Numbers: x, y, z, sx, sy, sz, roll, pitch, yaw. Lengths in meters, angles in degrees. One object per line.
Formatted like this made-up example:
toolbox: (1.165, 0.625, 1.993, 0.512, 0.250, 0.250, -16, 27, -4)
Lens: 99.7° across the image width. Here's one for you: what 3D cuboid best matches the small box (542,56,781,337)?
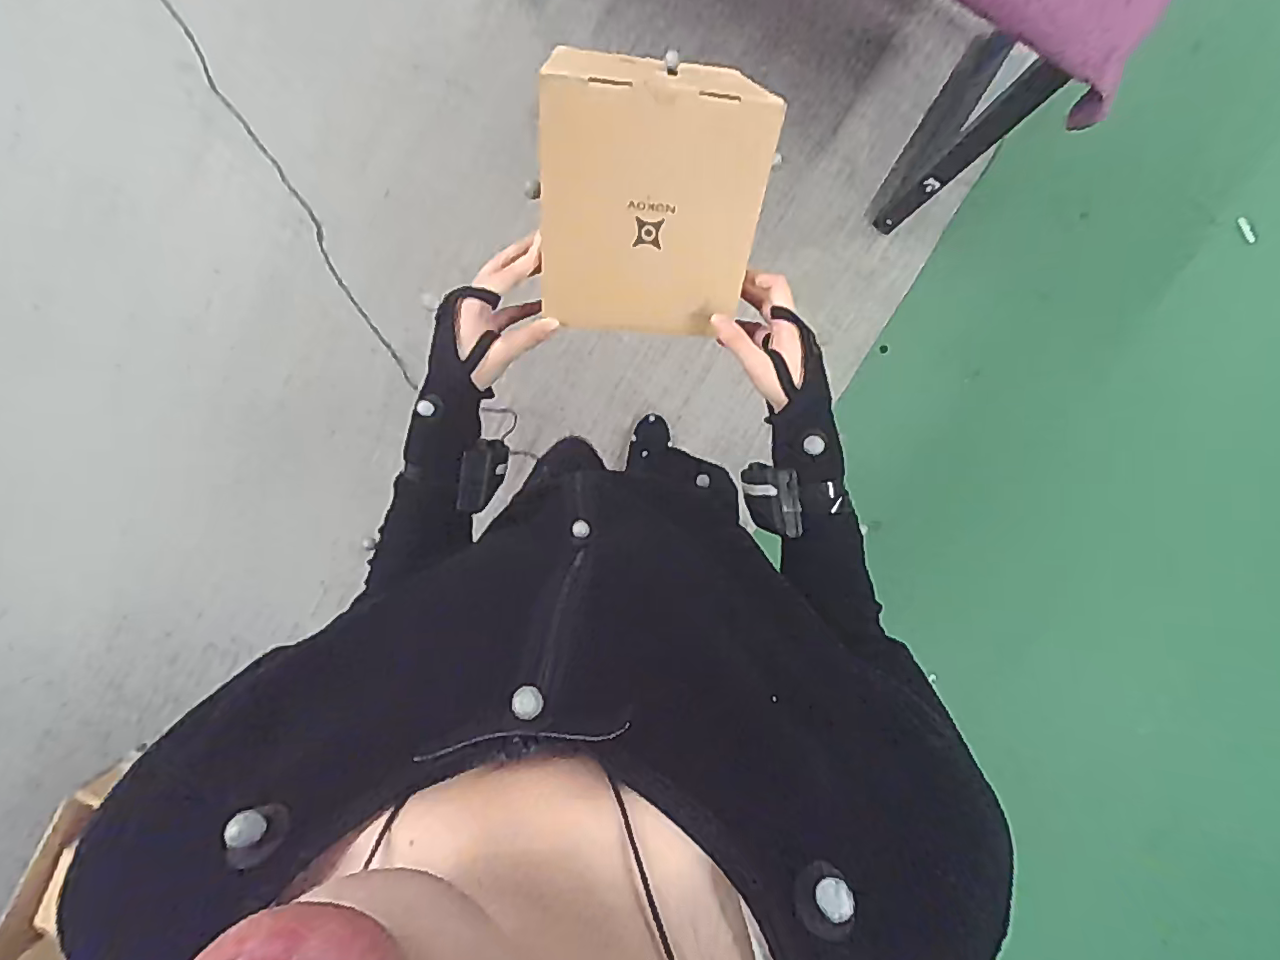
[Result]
small box: (0.004, -0.248, 0.474, 0.168, 0.176, 0.179, 2, 130, -6)
